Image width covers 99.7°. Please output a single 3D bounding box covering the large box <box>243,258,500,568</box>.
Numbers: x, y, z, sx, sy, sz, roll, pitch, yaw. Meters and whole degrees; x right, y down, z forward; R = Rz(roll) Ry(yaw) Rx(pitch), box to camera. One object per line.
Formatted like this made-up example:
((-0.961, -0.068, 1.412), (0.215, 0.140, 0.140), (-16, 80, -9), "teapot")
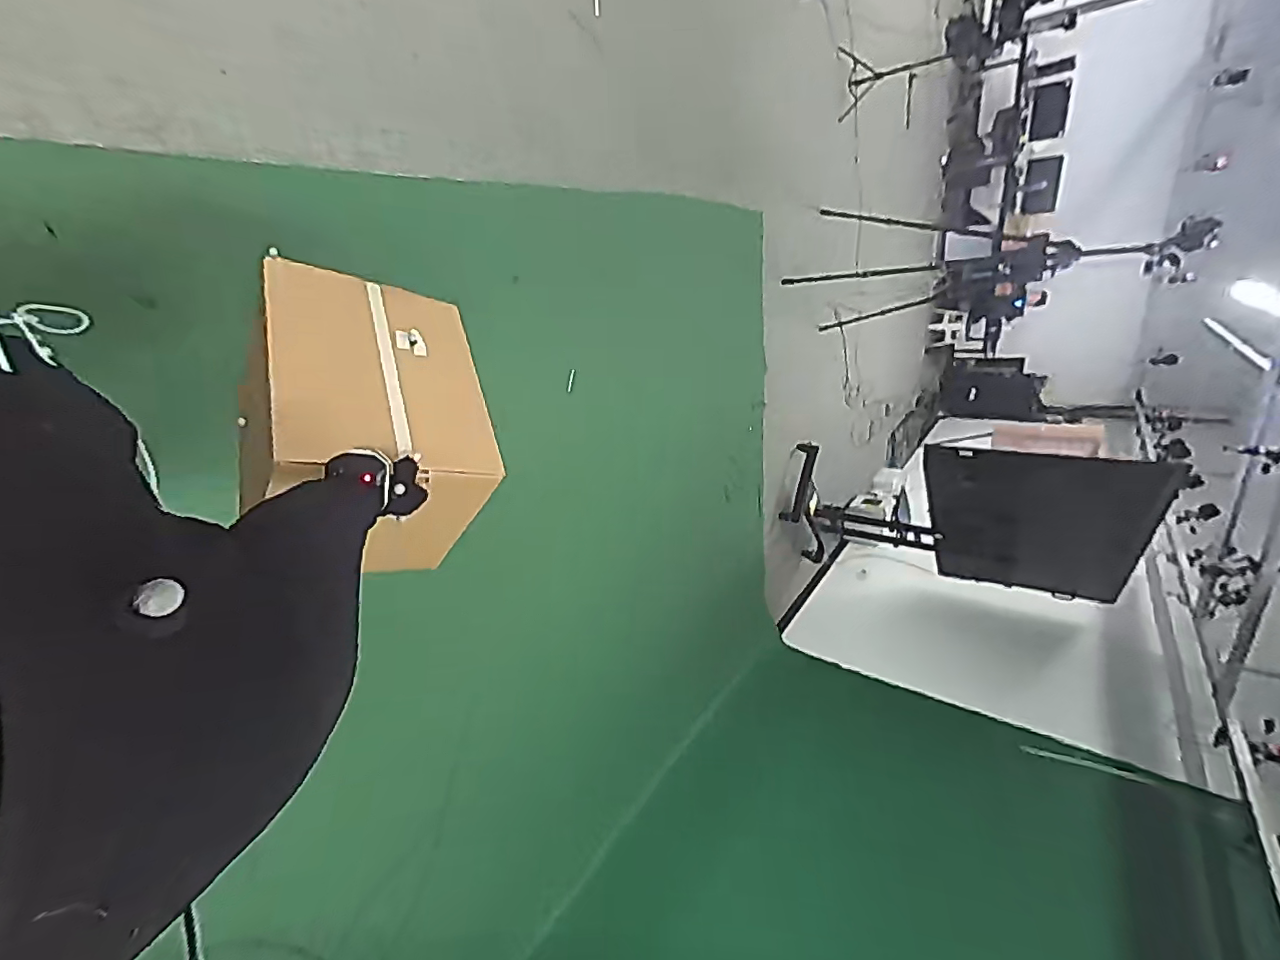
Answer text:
((-0.494, -0.100, 0.956), (0.320, 0.320, 0.408), (4, 52, -42), "large box")
